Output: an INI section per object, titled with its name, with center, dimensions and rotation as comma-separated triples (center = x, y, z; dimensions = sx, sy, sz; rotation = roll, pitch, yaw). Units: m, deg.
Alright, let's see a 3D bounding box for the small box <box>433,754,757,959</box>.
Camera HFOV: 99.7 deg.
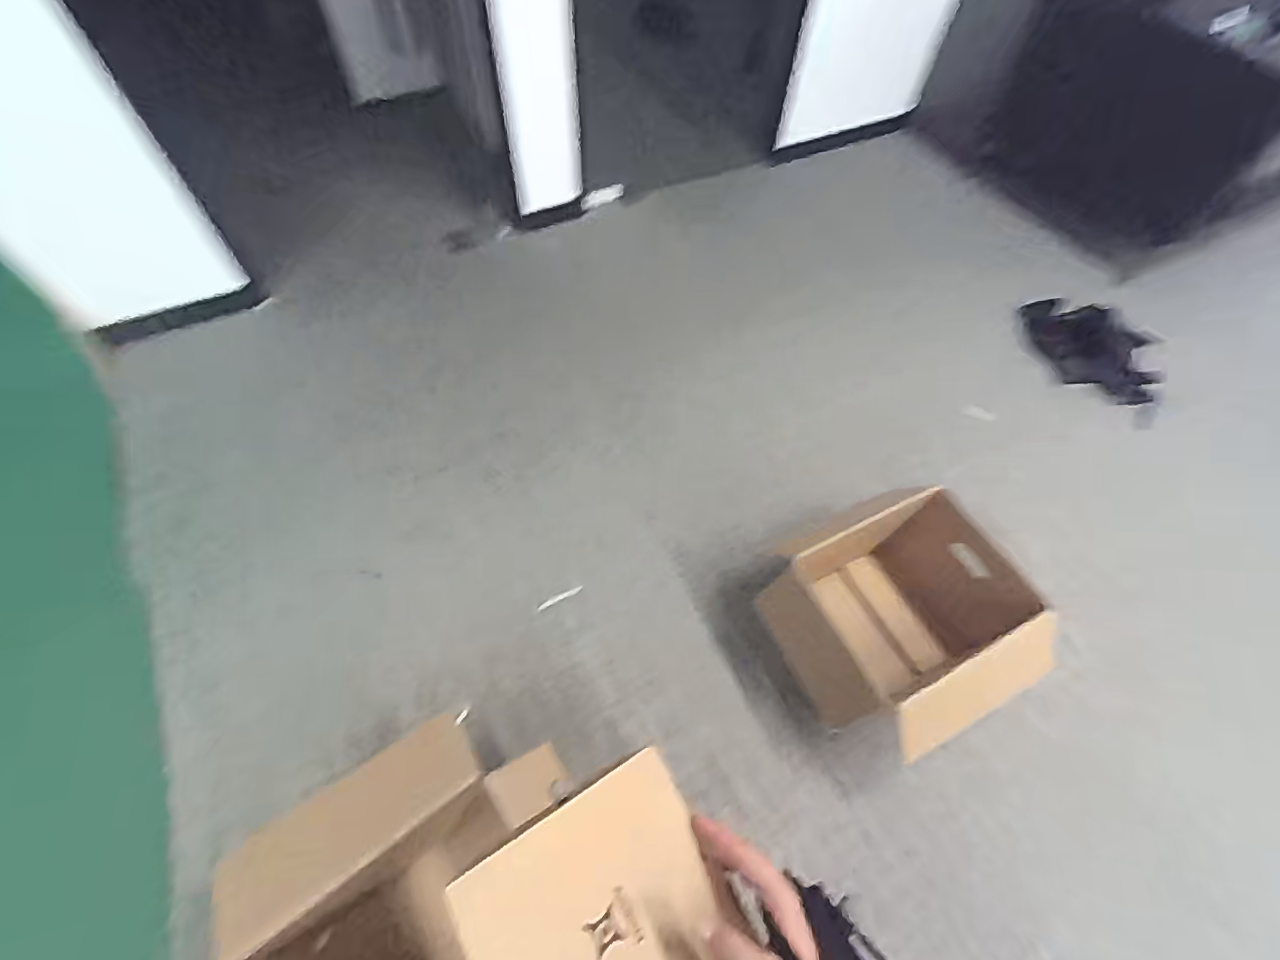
[small box]
center = -0.036, 0.348, 0.425
dimensions = 0.179, 0.176, 0.168
rotation = -23, 65, -22
